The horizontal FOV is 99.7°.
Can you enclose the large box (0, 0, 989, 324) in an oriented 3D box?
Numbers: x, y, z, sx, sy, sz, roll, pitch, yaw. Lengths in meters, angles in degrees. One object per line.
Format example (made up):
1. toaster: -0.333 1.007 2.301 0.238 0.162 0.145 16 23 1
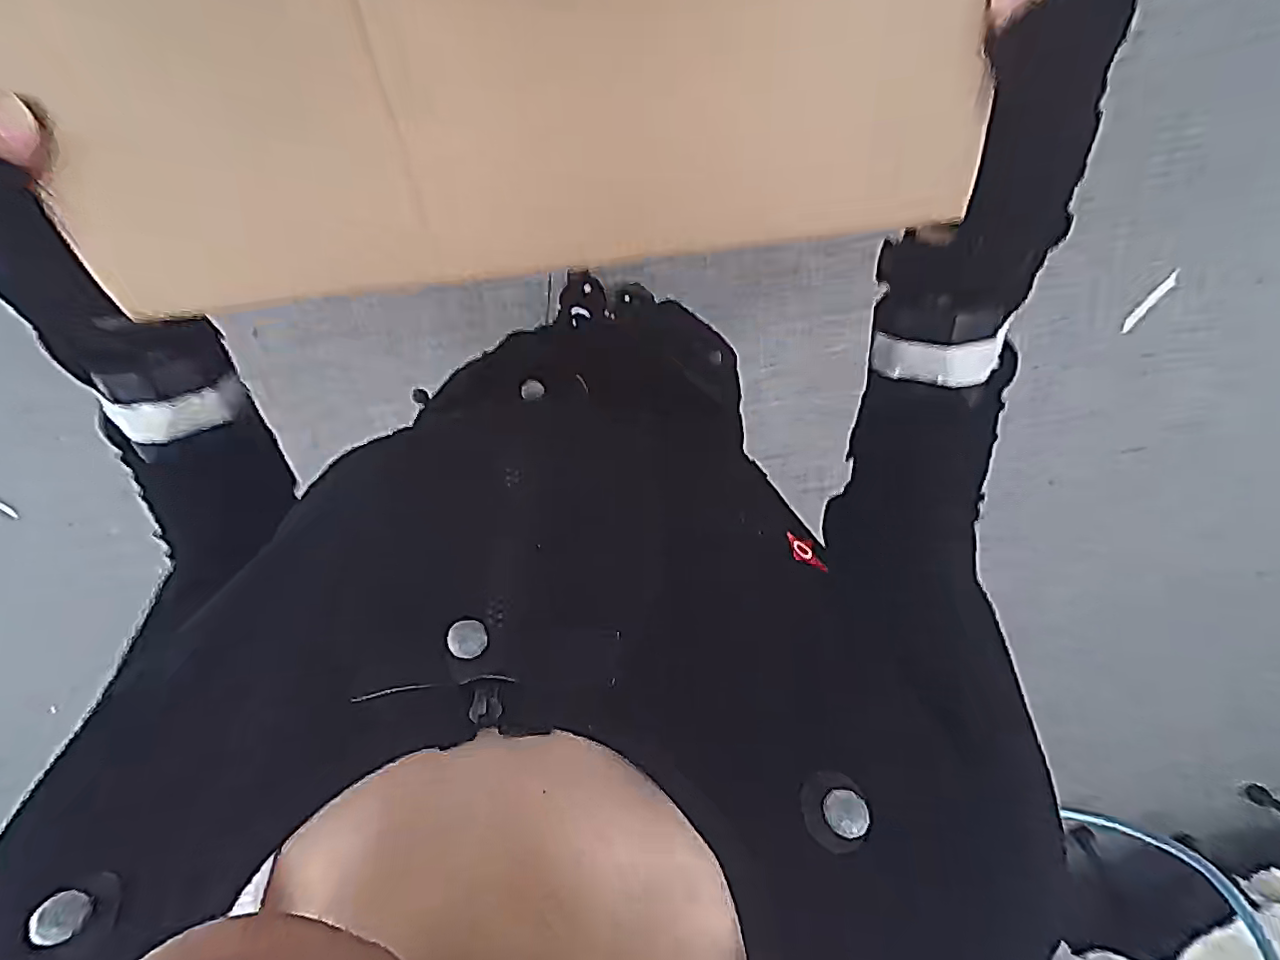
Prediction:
1. large box: -0.074 -0.313 0.287 0.408 0.320 0.320 -6 128 4
